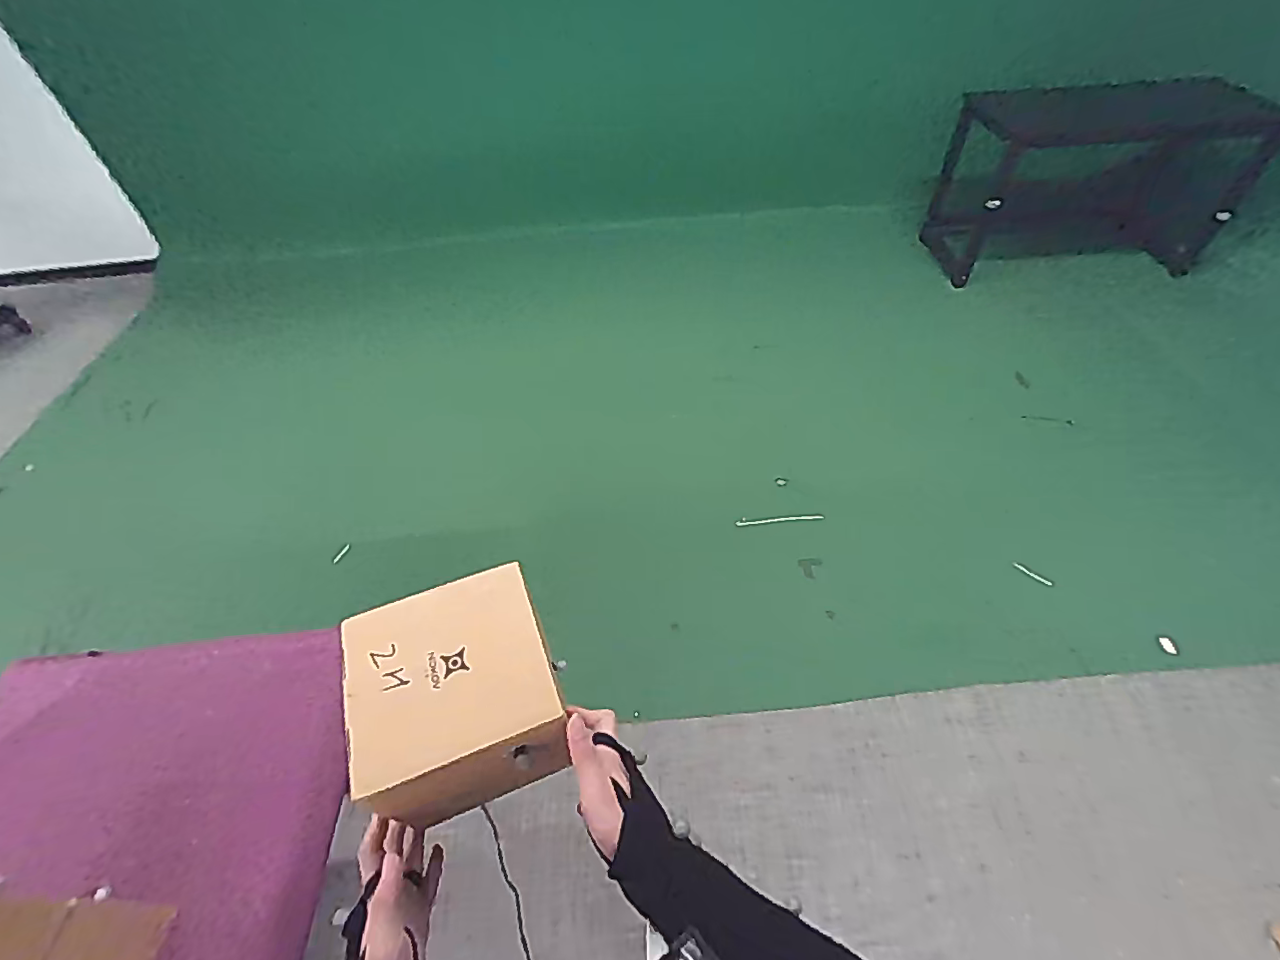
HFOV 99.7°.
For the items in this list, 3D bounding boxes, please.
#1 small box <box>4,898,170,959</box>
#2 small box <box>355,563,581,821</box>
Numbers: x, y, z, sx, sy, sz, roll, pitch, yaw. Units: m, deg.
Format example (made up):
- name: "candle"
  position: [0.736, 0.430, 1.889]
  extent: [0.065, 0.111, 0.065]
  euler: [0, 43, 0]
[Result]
- name: "small box"
  position: [-0.711, 0.598, 0.623]
  extent: [0.168, 0.176, 0.179]
  euler: [0, 49, 4]
- name: "small box"
  position: [-0.164, 0.217, 0.550]
  extent: [0.179, 0.176, 0.168]
  euler: [-17, 52, -13]
